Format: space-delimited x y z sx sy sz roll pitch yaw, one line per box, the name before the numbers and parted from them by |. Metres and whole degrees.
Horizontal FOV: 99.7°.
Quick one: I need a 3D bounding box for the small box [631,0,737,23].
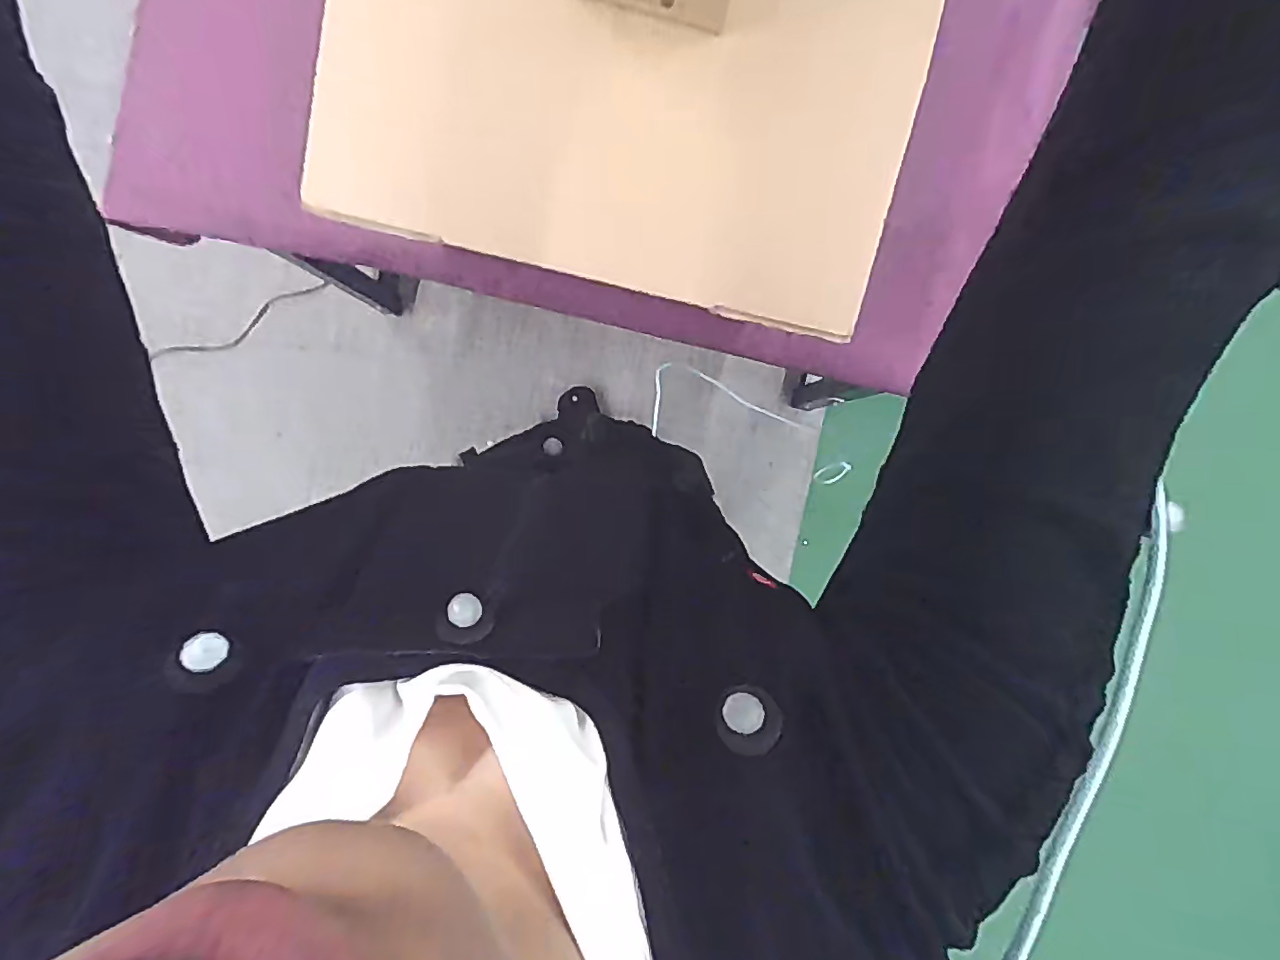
small box | 0.029 -0.547 0.458 0.168 0.176 0.179 11 92 -2
